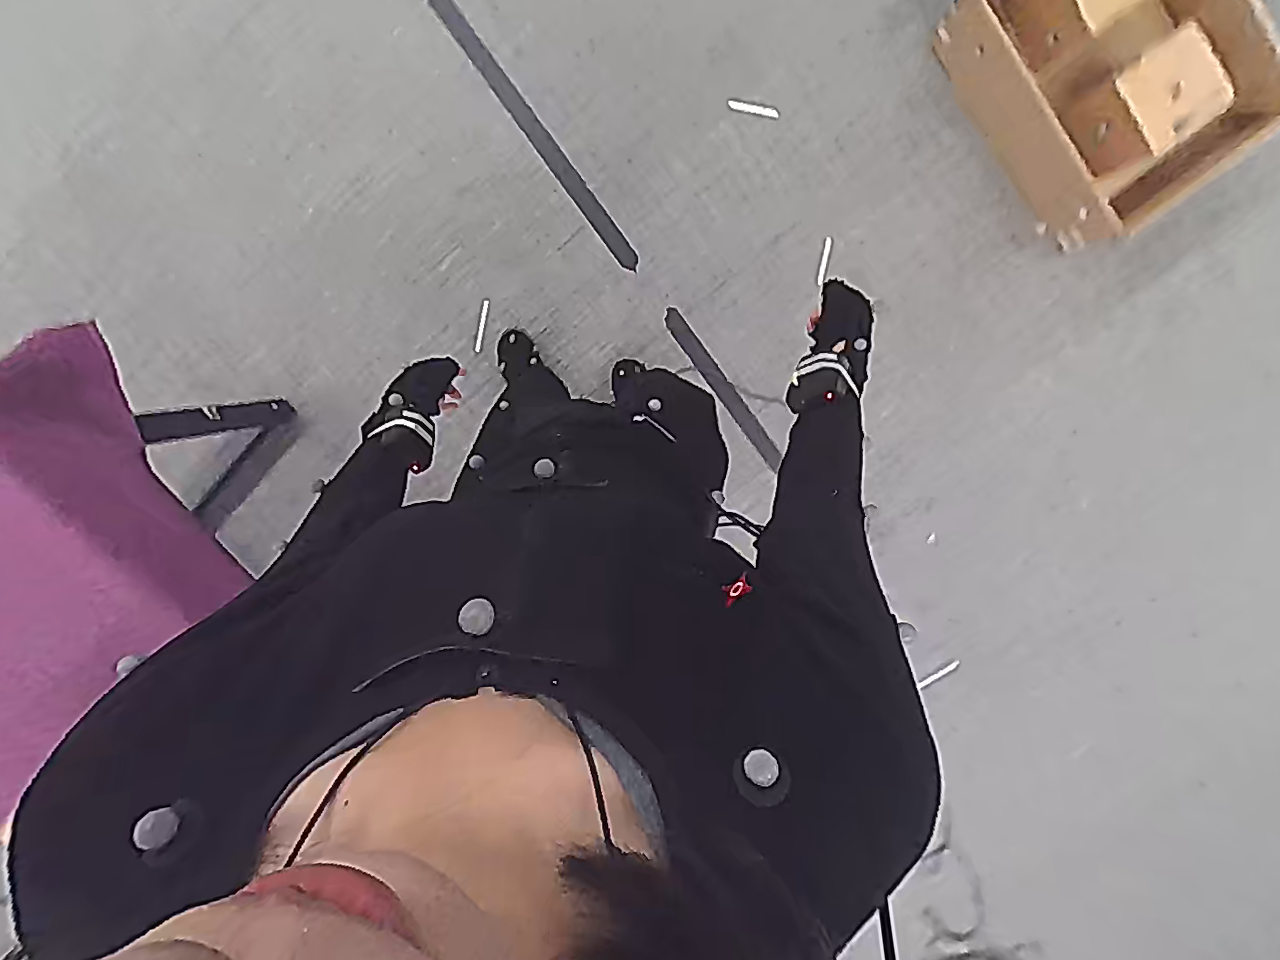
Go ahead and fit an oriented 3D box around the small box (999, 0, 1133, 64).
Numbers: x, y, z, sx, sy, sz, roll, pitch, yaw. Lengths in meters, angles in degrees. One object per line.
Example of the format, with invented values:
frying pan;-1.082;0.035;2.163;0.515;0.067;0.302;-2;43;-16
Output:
small box;0.892;-1.006;1.108;0.168;0.176;0.179;-35;98;10

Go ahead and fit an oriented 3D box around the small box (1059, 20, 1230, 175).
small box;1.051;-0.794;1.146;0.168;0.176;0.179;-37;96;12
